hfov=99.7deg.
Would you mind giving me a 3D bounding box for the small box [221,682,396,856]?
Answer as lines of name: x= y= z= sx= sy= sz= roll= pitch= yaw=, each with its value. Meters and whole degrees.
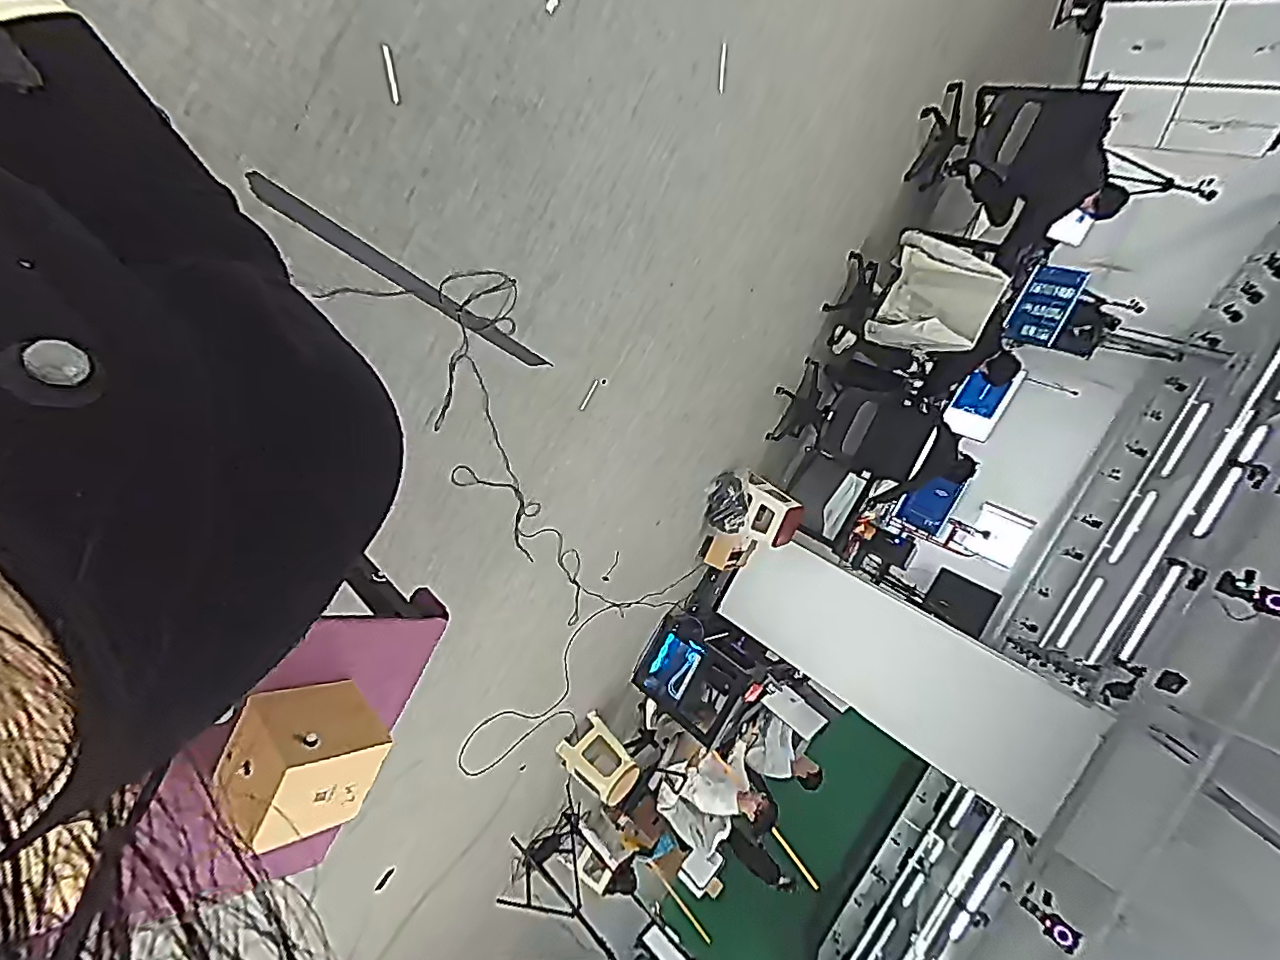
small box: x=-0.559 y=0.468 z=0.908 sx=0.179 sy=0.176 sz=0.168 roll=18 pitch=102 yaw=-58
